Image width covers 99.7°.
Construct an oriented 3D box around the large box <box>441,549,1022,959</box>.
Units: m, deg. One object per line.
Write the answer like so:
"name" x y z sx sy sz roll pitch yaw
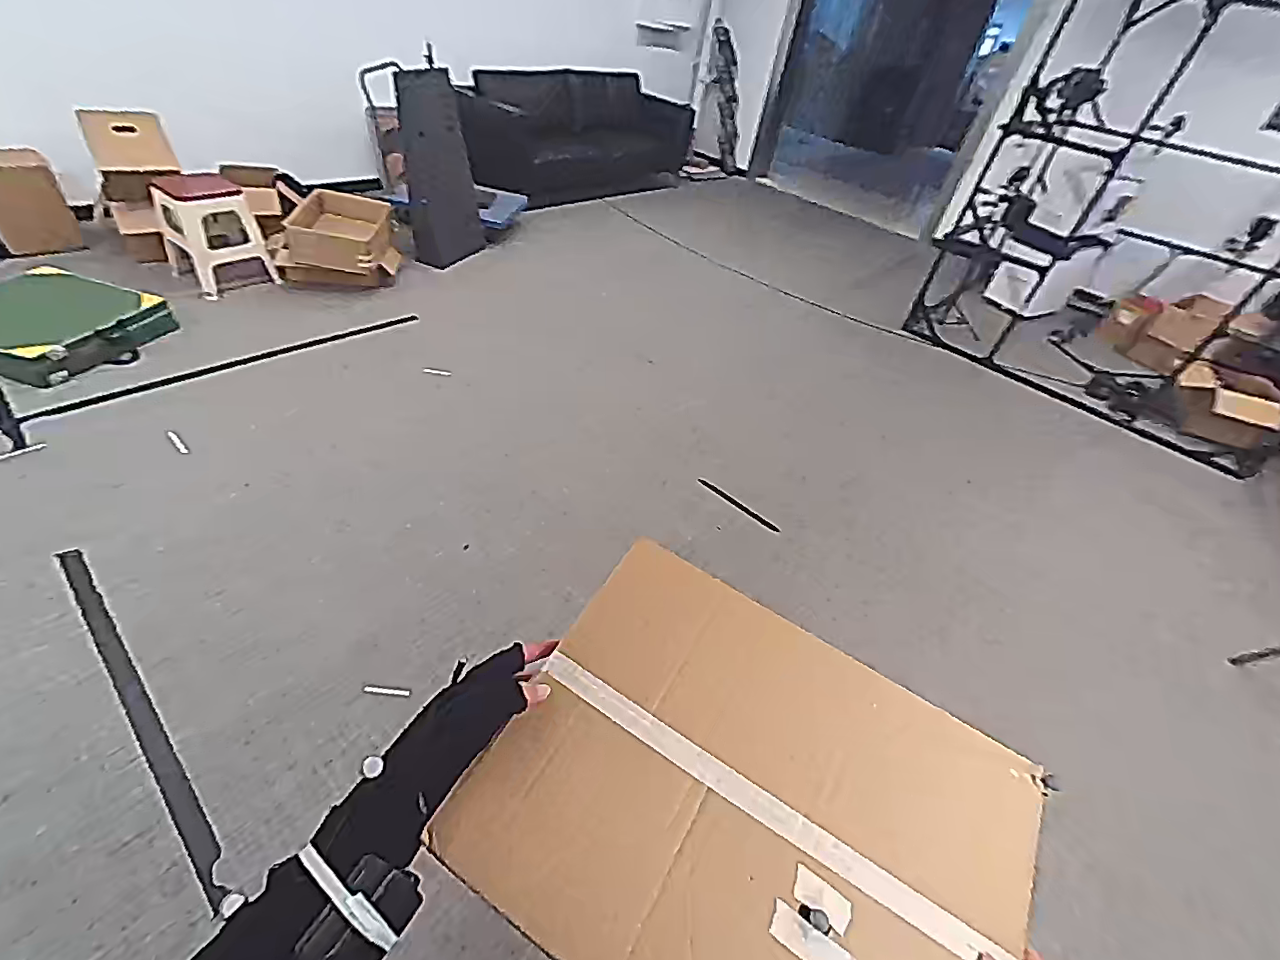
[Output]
"large box" 0.077 0.348 0.558 0.408 0.320 0.320 29 56 15
